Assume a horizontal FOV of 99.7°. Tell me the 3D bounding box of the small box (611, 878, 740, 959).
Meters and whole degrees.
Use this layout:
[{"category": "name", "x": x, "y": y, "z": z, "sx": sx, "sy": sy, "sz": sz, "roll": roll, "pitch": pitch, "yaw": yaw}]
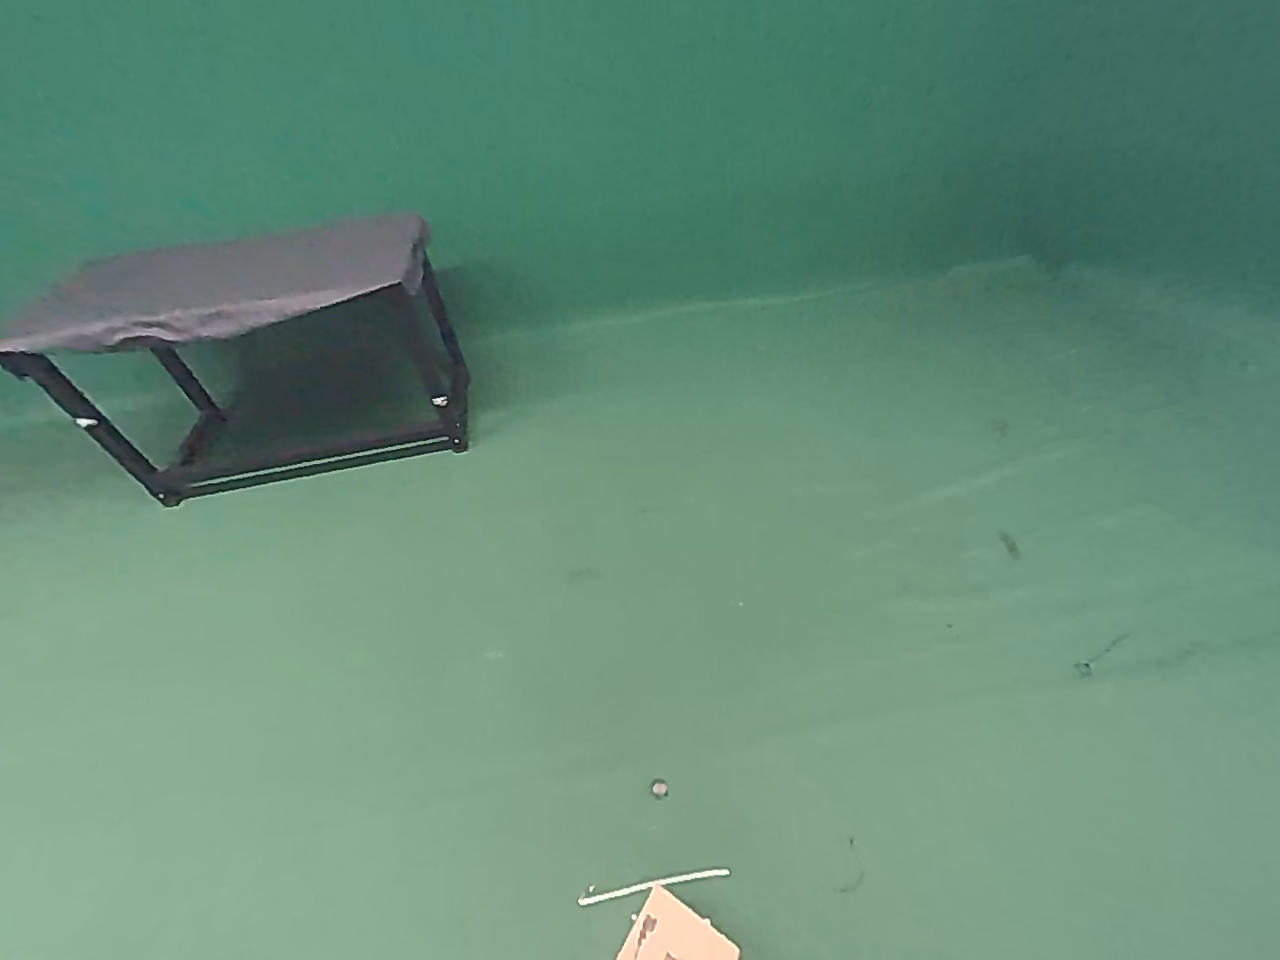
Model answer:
[{"category": "small box", "x": 0.061, "y": 0.864, "z": 0.968, "sx": 0.179, "sy": 0.176, "sz": 0.168, "roll": 23, "pitch": 51, "yaw": 27}]
